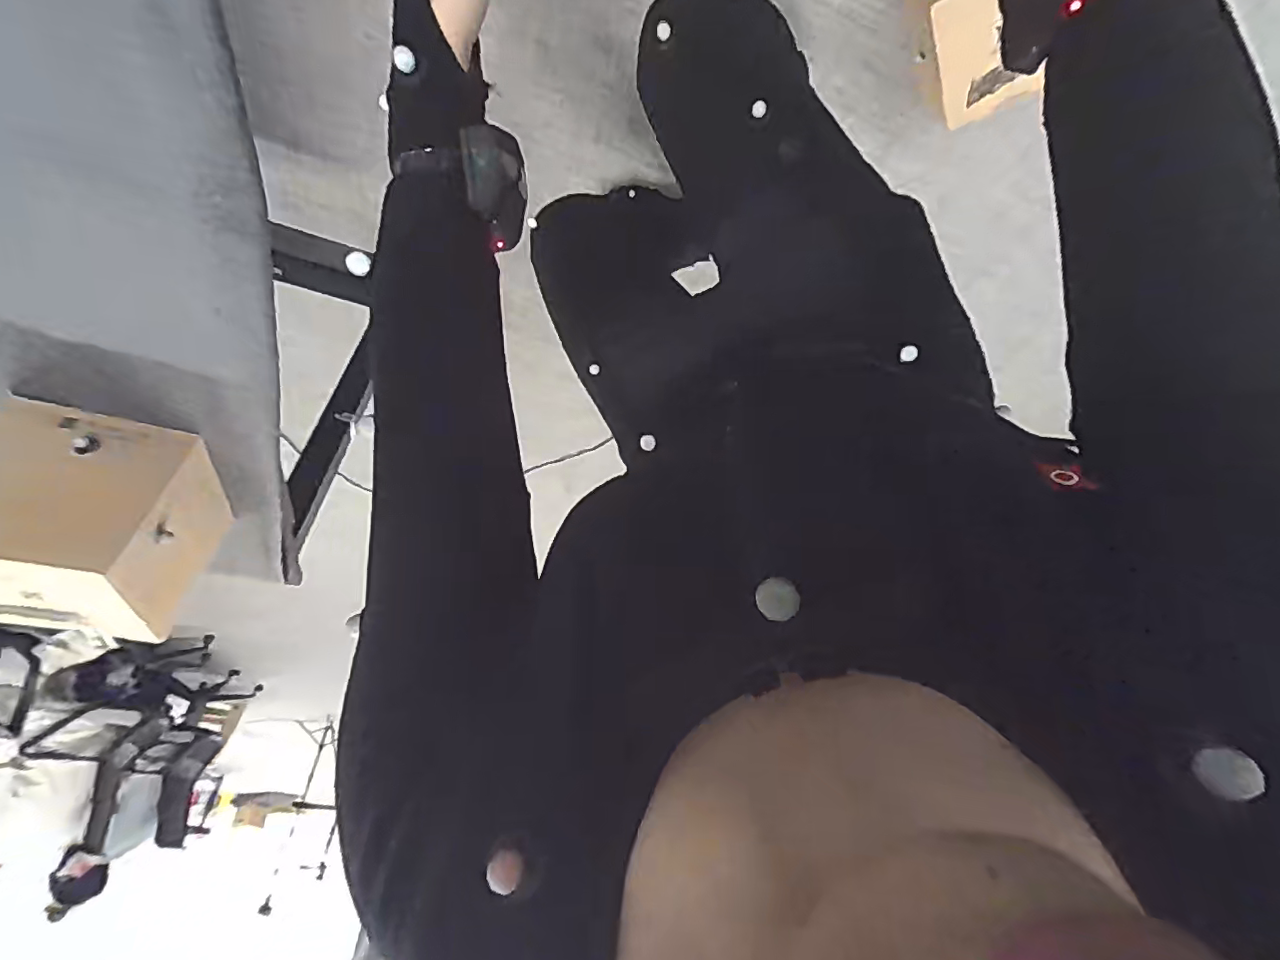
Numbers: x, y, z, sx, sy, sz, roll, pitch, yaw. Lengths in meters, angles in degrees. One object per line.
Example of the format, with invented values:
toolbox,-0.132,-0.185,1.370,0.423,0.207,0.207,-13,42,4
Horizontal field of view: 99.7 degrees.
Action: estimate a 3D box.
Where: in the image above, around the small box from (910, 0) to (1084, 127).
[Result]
small box,0.504,-0.666,0.777,0.168,0.176,0.179,-19,137,26
